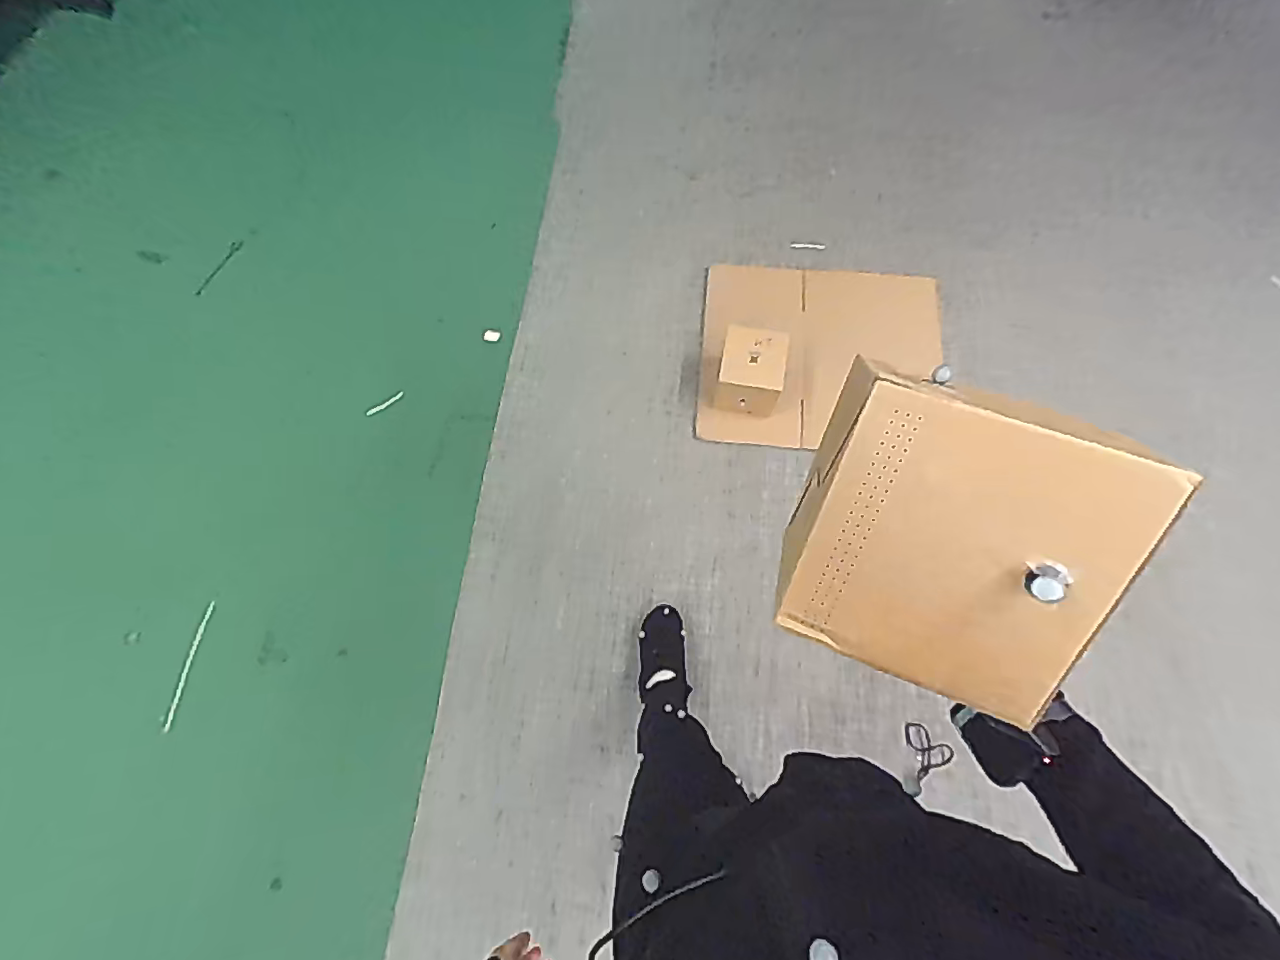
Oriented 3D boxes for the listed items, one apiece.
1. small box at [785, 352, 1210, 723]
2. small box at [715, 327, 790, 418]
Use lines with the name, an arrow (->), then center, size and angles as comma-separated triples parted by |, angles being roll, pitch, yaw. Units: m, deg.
small box -> 0.208, 0.022, 0.384 | 0.176, 0.168, 0.179 | 20, 112, 12
small box -> 0.301, -0.287, 1.477 | 0.168, 0.176, 0.179 | 11, 72, 5
